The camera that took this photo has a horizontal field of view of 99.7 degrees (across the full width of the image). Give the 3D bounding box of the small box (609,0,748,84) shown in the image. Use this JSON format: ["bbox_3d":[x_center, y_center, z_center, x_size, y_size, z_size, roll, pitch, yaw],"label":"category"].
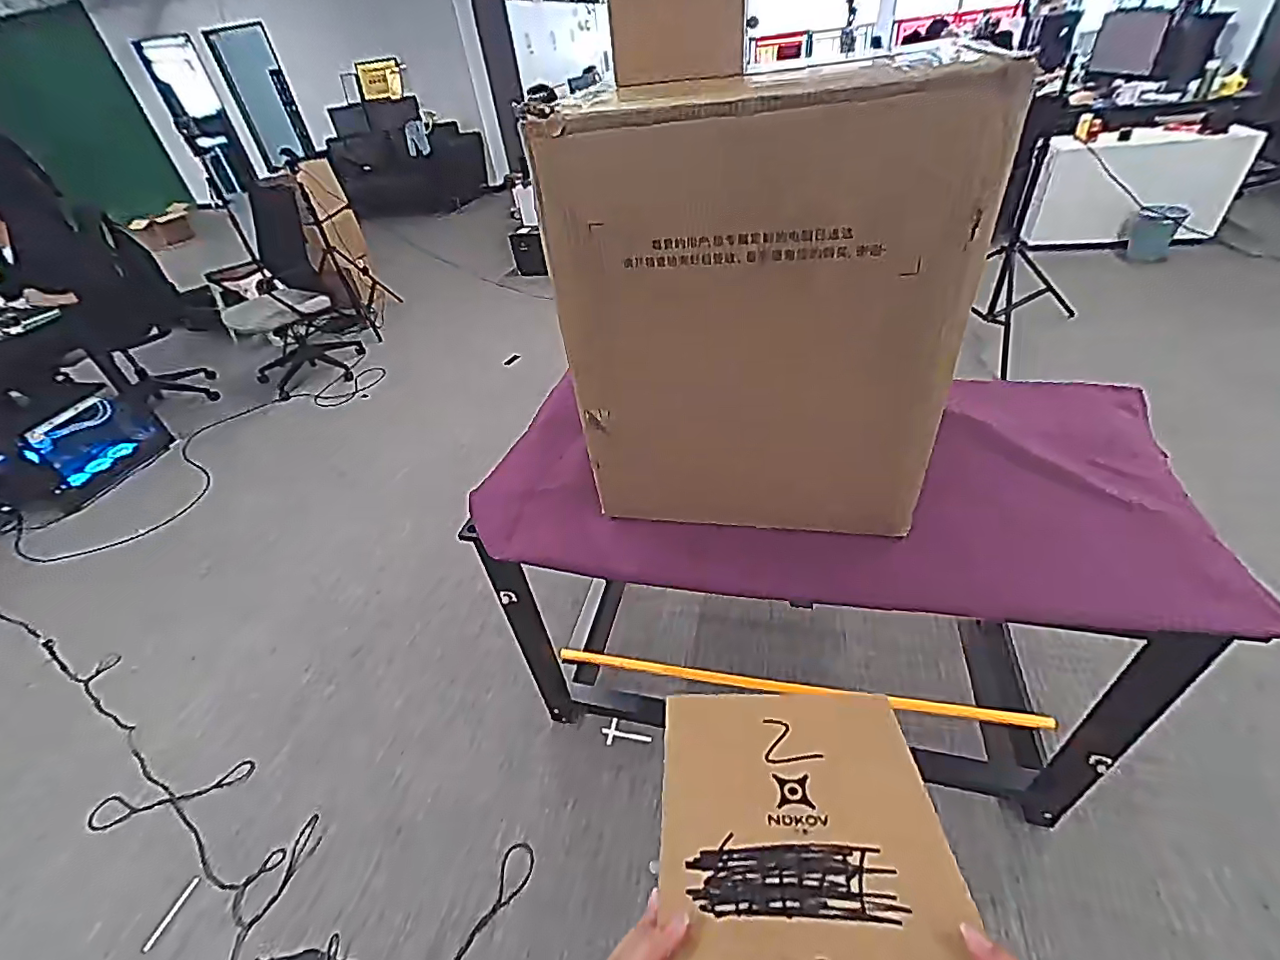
[{"bbox_3d":[0.055,-0.647,0.728,0.179,0.176,0.168,3,41,11],"label":"small box"}]
